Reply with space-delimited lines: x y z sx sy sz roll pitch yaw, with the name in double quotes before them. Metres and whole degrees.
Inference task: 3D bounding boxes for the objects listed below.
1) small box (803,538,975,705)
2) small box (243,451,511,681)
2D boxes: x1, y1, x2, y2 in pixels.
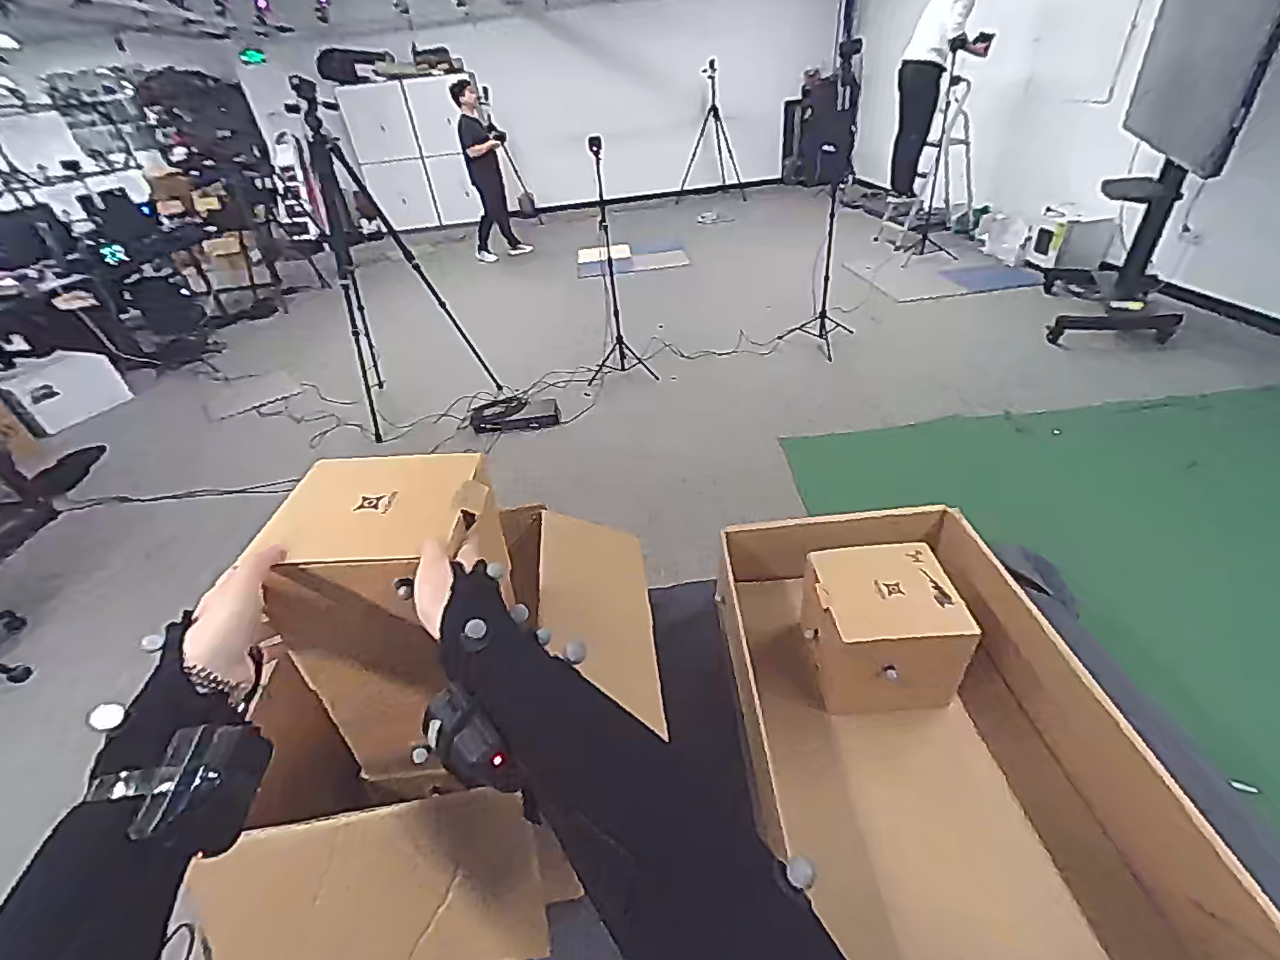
"small box" 0.344 0.209 0.789 0.179 0.176 0.168 -6 38 4
"small box" -0.243 0.087 0.555 0.179 0.176 0.168 -3 35 -2
